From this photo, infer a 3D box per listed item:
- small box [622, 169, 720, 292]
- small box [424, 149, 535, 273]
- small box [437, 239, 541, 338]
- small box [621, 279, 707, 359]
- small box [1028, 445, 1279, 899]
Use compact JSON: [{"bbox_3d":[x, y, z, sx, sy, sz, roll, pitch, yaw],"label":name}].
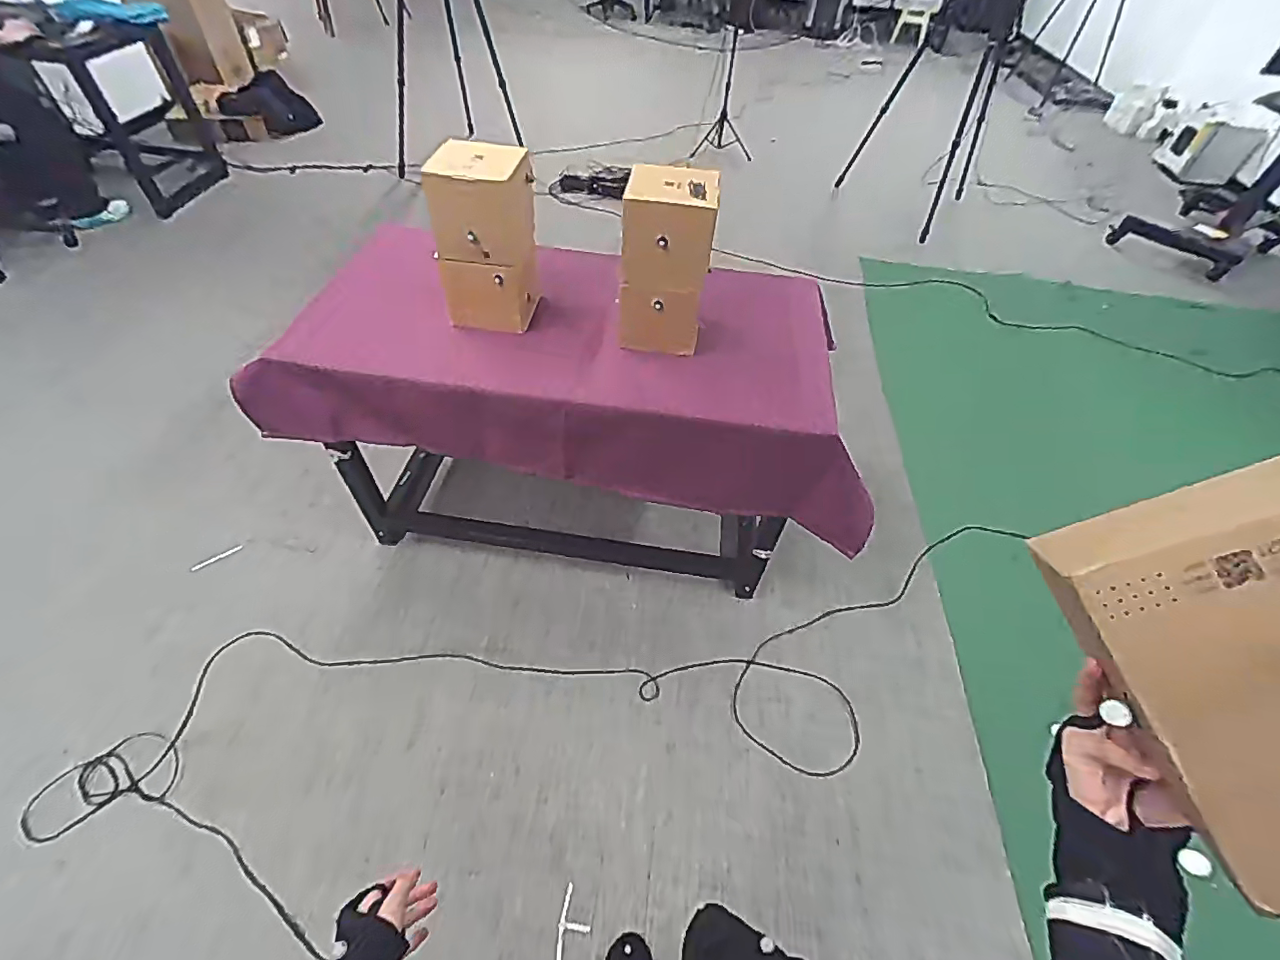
[{"bbox_3d":[0.061,-0.498,1.090,0.179,0.176,0.168,6,50,3],"label":"small box"},{"bbox_3d":[-0.318,-0.553,1.114,0.168,0.176,0.179,6,49,2],"label":"small box"},{"bbox_3d":[-0.335,-0.444,1.237,0.179,0.176,0.168,7,49,1],"label":"small box"},{"bbox_3d":[0.053,-0.391,1.214,0.179,0.176,0.168,8,50,2],"label":"small box"},{"bbox_3d":[0.351,0.082,0.300,0.179,0.168,0.176,1,64,-59],"label":"small box"}]
